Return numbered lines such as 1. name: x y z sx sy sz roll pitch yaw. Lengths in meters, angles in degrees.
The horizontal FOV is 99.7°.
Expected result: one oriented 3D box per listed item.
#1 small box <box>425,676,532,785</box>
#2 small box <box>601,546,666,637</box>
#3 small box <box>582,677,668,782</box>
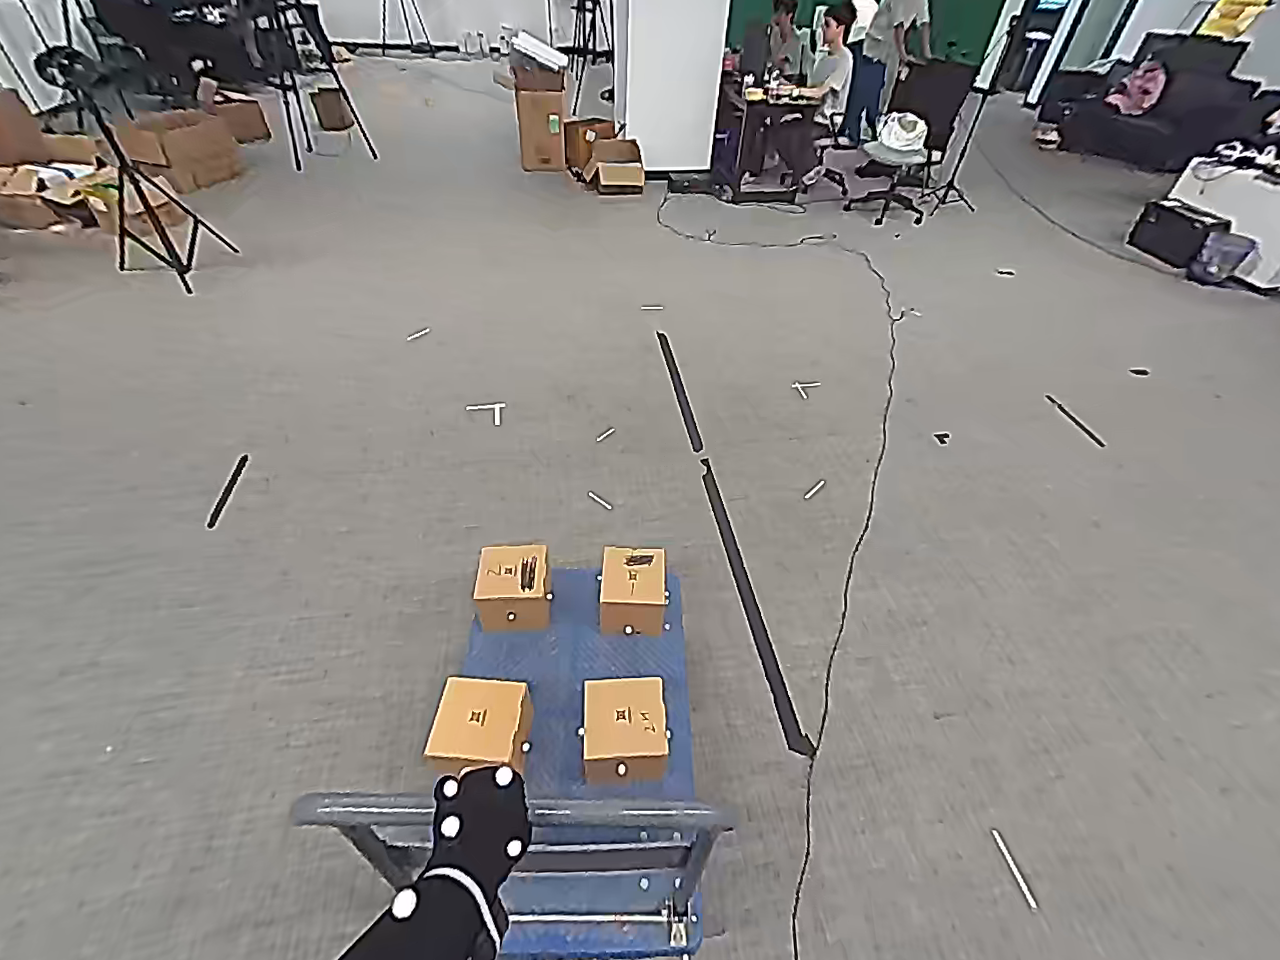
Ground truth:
1. small box: -0.344 0.553 1.190 0.179 0.176 0.168 5 44 -1
2. small box: -0.019 0.302 1.465 0.168 0.176 0.179 3 45 0
3. small box: -0.035 0.557 1.203 0.179 0.176 0.168 -1 45 -4
